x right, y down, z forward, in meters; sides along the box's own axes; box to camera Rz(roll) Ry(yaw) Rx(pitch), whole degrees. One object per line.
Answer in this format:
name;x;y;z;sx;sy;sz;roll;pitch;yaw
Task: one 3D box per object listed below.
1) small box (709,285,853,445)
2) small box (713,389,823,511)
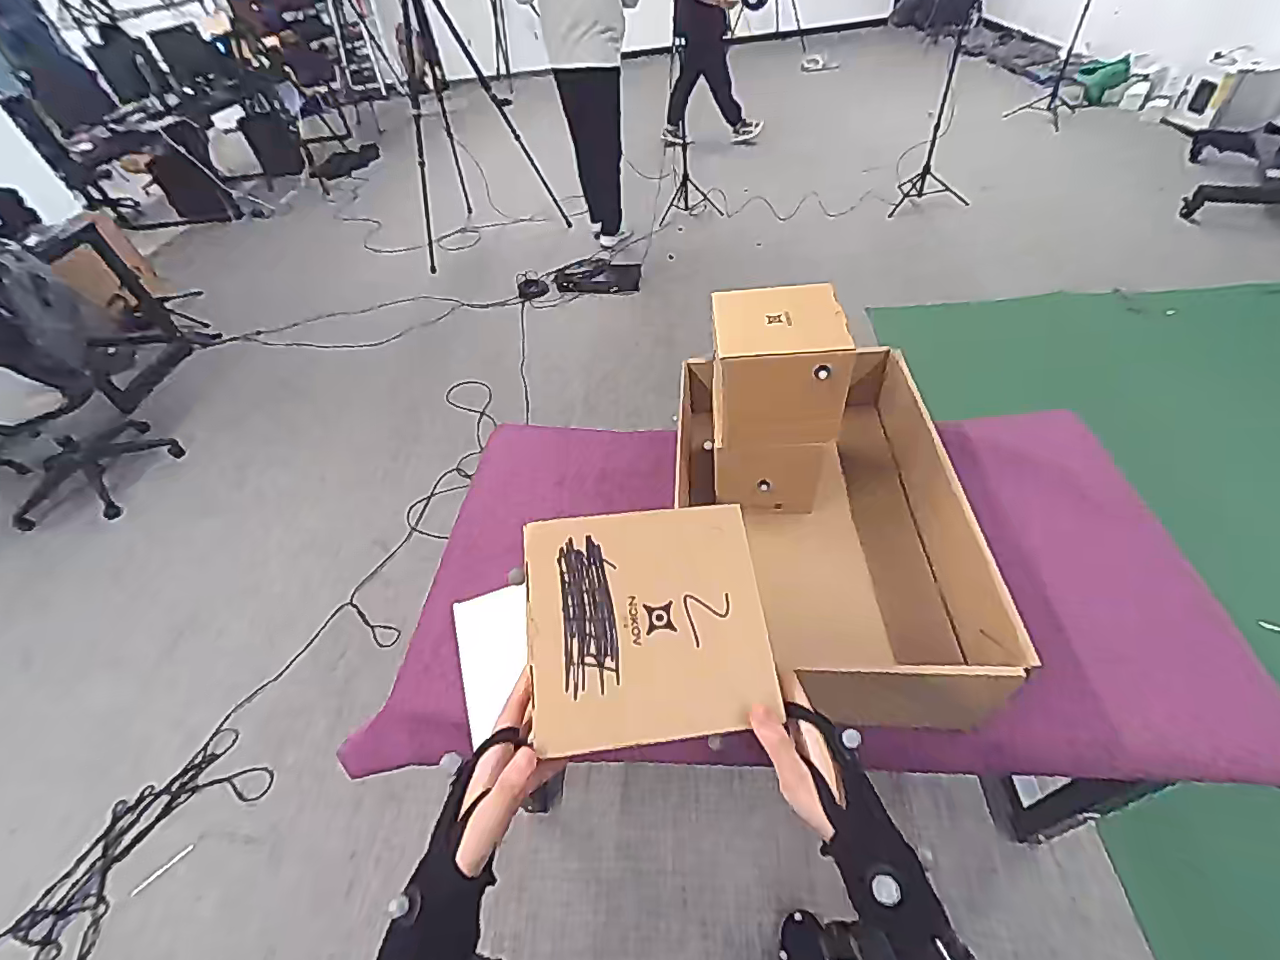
small box;0.197;-0.166;0.802;0.179;0.176;0.168;-3;48;6
small box;0.209;-0.059;0.923;0.168;0.176;0.179;-1;48;8
